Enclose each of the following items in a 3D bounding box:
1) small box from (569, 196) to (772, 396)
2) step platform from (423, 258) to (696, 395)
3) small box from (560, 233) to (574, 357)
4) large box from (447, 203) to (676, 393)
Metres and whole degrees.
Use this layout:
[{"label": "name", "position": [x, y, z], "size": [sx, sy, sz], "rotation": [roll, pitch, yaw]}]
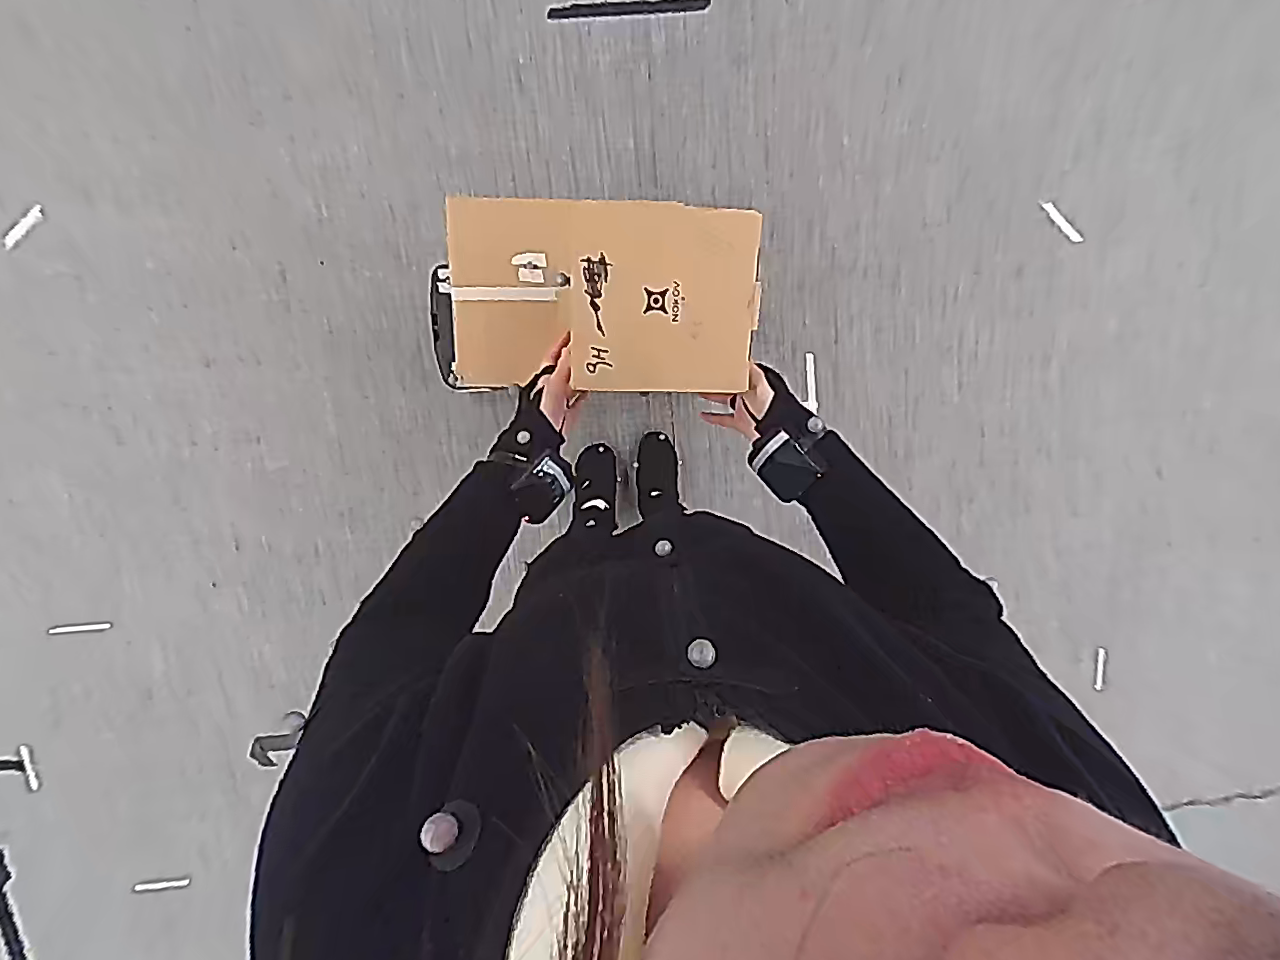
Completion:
[{"label": "small box", "position": [0.017, -0.181, 0.564], "size": [0.179, 0.176, 0.168], "rotation": [0, 105, -8]}, {"label": "step platform", "position": [-0.160, -0.360, 1.310], "size": [0.684, 0.204, 0.286], "rotation": [1, 99, -3]}, {"label": "small box", "position": [-0.030, -0.272, 0.842], "size": [0.179, 0.176, 0.168], "rotation": [2, 100, -4]}, {"label": "large box", "position": [-0.125, -0.334, 1.074], "size": [0.408, 0.320, 0.320], "rotation": [-1, 98, -3]}]
